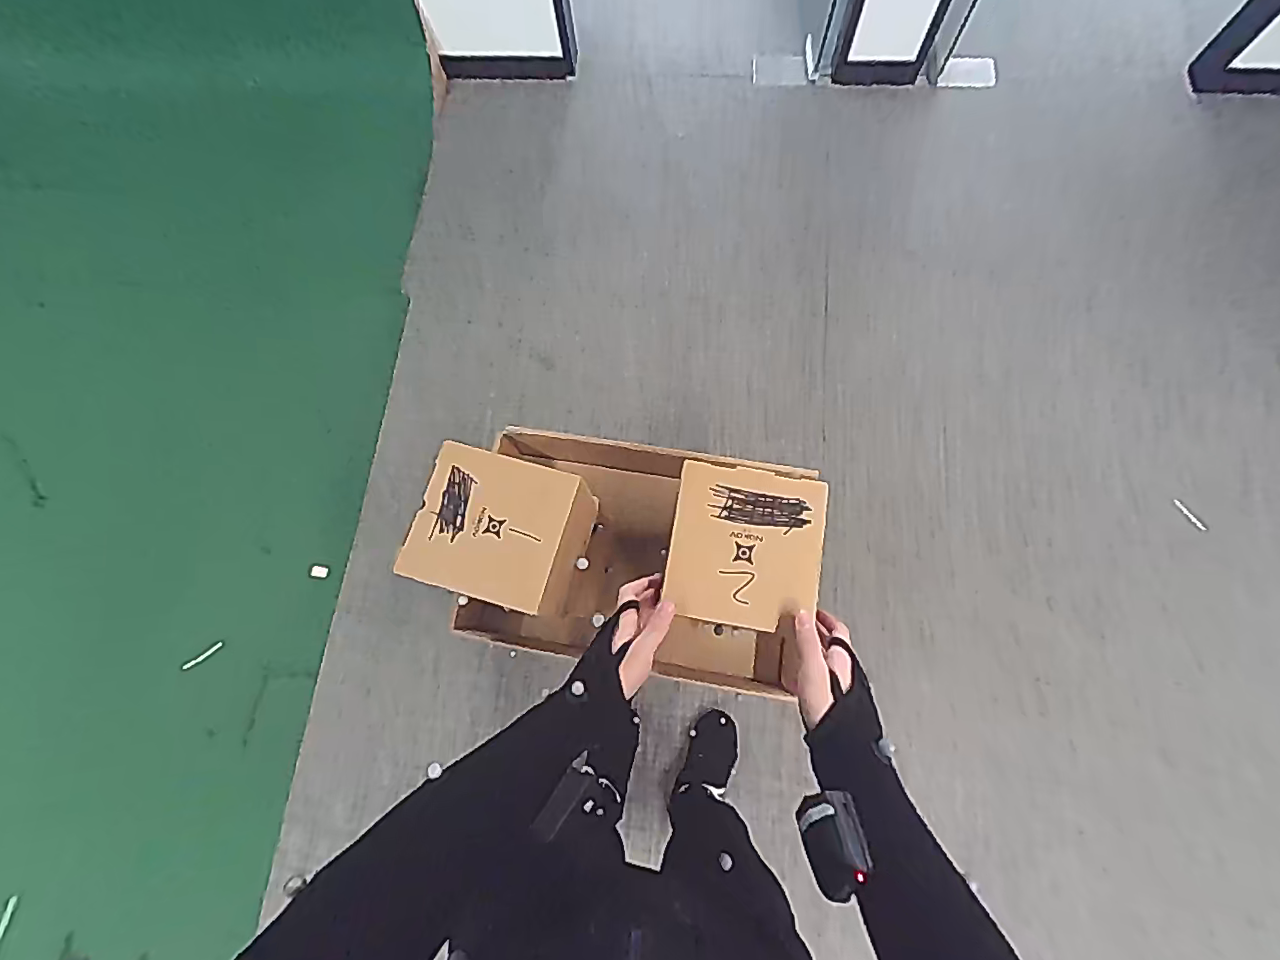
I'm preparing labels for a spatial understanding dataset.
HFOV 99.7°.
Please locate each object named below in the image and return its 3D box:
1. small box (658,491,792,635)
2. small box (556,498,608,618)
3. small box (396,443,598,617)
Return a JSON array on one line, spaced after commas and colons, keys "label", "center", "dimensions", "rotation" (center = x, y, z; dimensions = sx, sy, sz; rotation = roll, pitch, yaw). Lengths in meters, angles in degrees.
[{"label": "small box", "center": [0.124, 0.132, 0.828], "dimensions": [0.168, 0.176, 0.179], "rotation": [10, 75, 5]}, {"label": "small box", "center": [-0.152, 0.113, 0.850], "dimensions": [0.168, 0.176, 0.179], "rotation": [12, 75, 6]}, {"label": "small box", "center": [-0.166, 0.074, 0.691], "dimensions": [0.179, 0.176, 0.168], "rotation": [16, 76, 6]}]
